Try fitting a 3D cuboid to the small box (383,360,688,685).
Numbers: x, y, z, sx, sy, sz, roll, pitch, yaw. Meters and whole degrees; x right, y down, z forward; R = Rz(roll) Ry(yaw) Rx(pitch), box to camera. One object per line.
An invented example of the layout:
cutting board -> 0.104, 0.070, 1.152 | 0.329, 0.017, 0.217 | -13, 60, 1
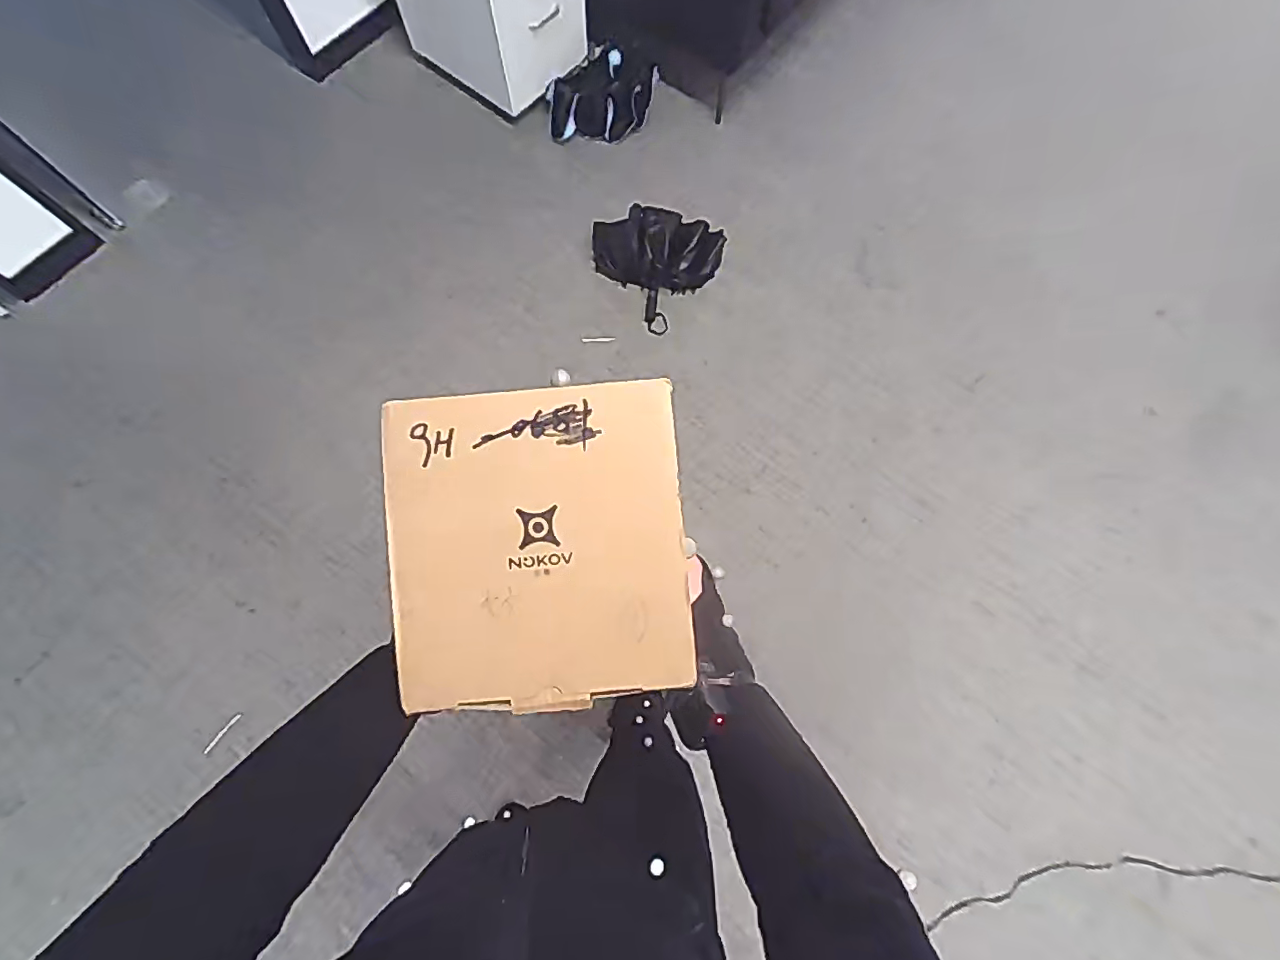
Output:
small box -> -0.058, 0.025, 0.385 | 0.168, 0.176, 0.179 | -5, 88, -1
